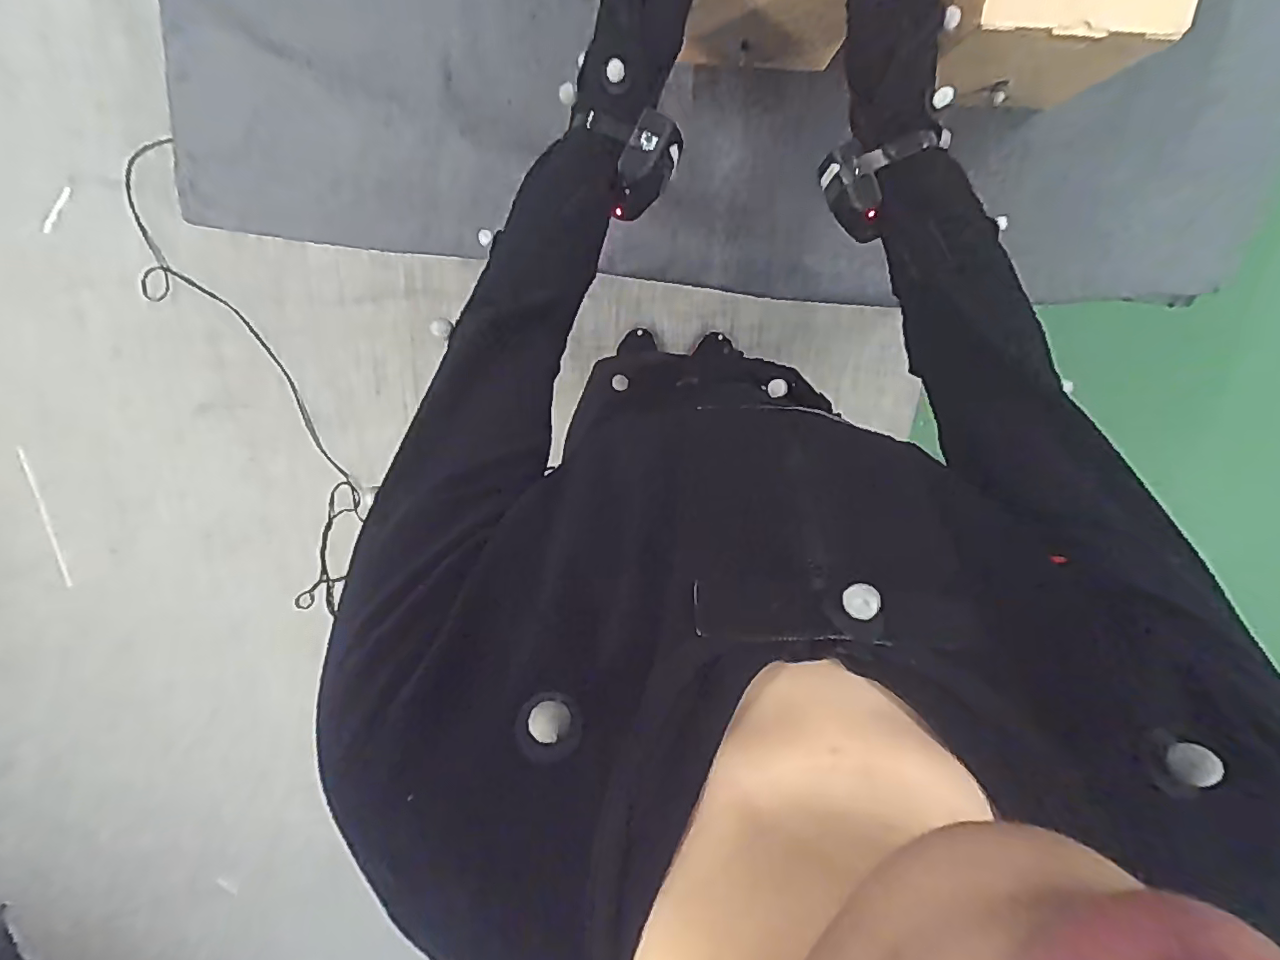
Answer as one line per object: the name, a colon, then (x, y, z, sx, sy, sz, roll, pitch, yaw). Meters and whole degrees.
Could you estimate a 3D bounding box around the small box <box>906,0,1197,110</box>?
small box: (0.366, -0.468, 0.486, 0.168, 0.176, 0.179, 5, 108, 3)
